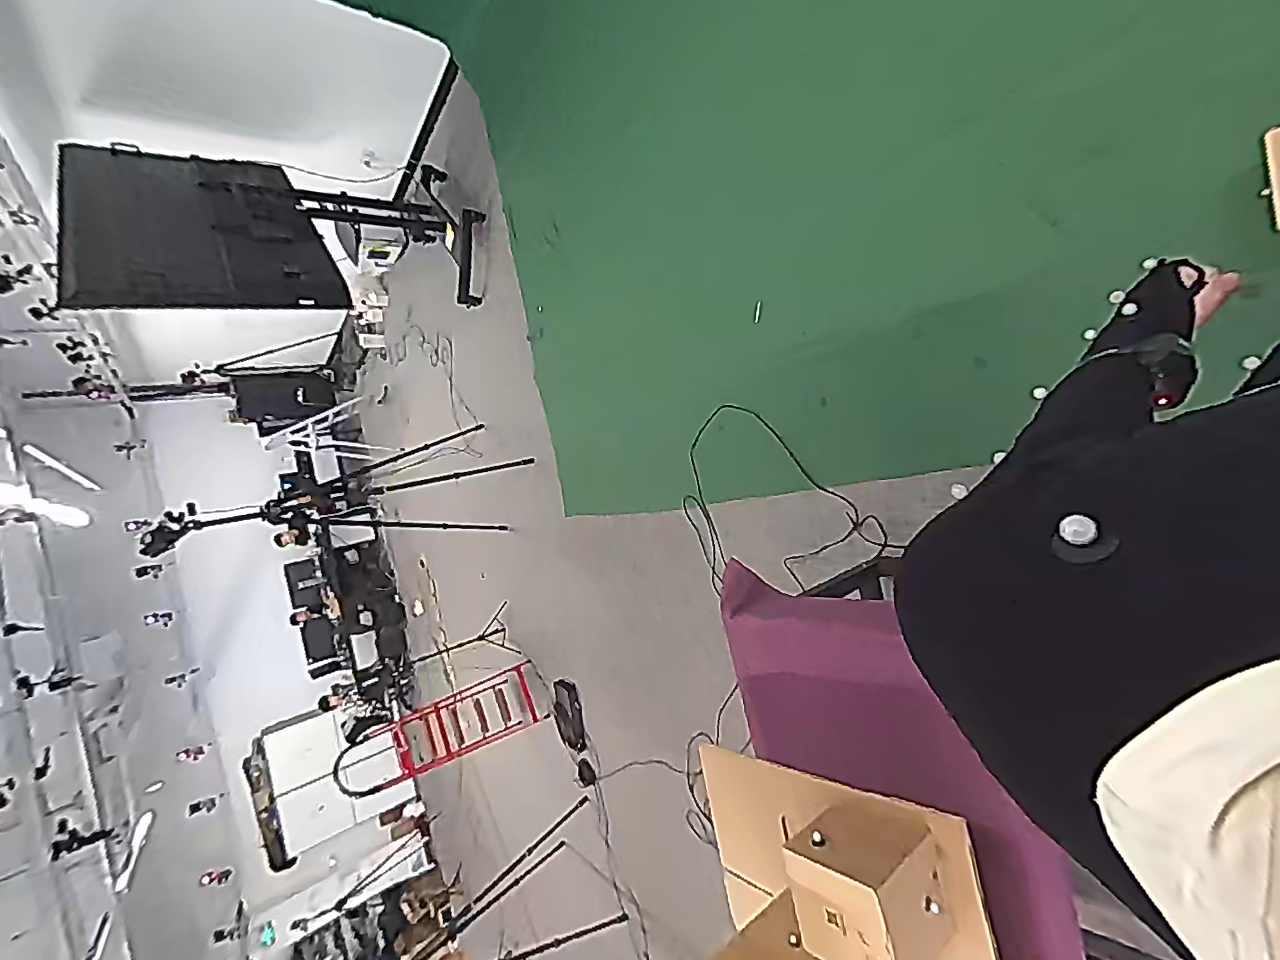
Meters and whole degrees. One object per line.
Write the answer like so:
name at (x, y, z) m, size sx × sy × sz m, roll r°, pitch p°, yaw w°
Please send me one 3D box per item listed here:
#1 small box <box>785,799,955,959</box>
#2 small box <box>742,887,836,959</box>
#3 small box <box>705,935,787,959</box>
small box at (0.369, 0.652, 0.874) m, size 0.179 × 0.176 × 0.168 m, roll -17°, pitch 84°, yaw 52°
small box at (0.319, 0.887, 0.984) m, size 0.179 × 0.176 × 0.168 m, roll -18°, pitch 82°, yaw 53°
small box at (0.187, 0.910, 0.892) m, size 0.179 × 0.176 × 0.168 m, roll -19°, pitch 81°, yaw 51°
